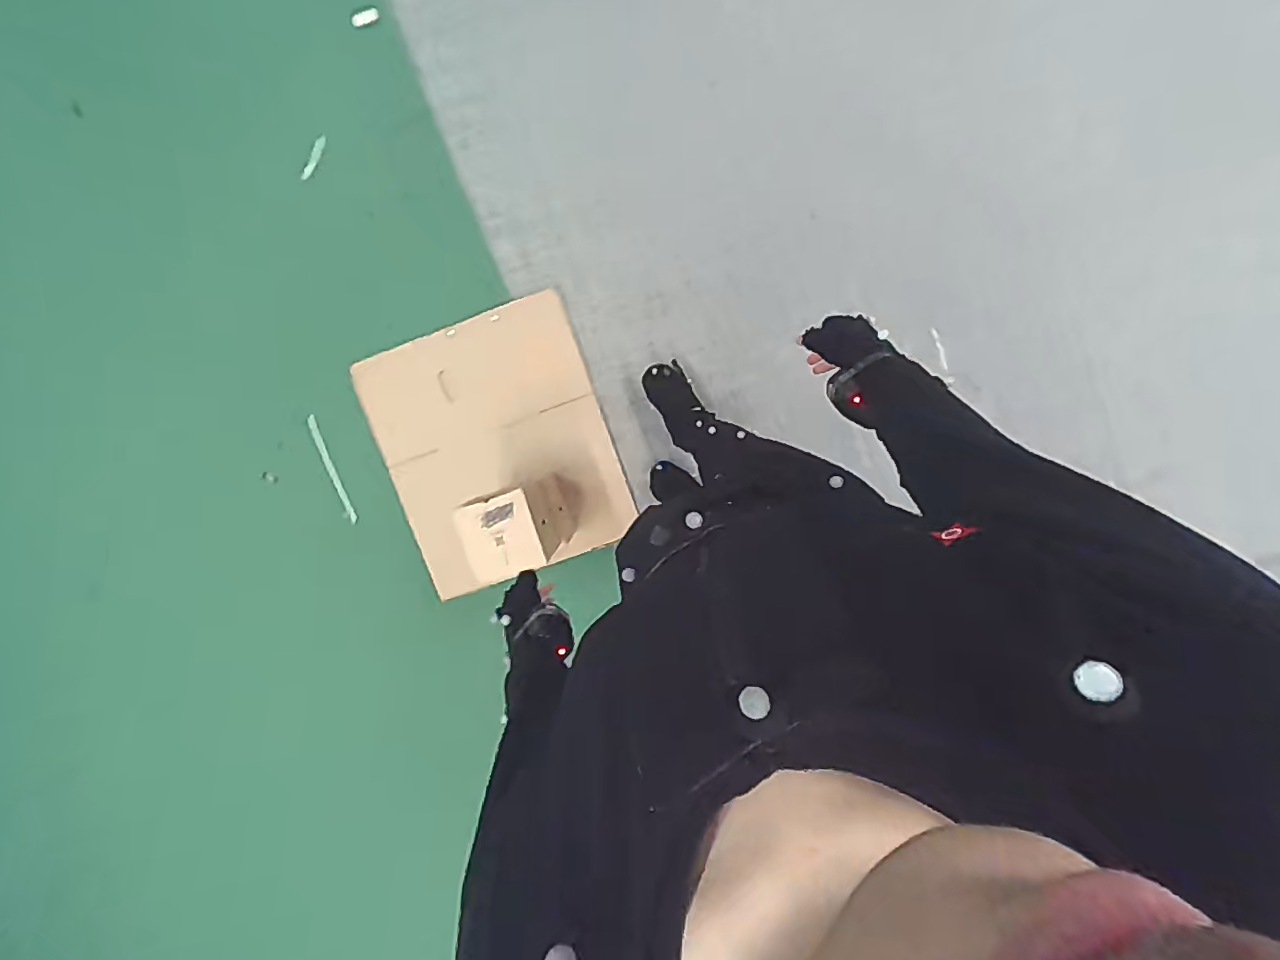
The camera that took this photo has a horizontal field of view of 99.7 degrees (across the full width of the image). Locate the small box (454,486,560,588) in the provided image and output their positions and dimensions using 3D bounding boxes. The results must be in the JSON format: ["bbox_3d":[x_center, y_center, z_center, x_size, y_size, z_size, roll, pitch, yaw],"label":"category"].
[{"bbox_3d":[-0.294,0.120,1.230,0.168,0.176,0.179,-17,97,4],"label":"small box"}]
